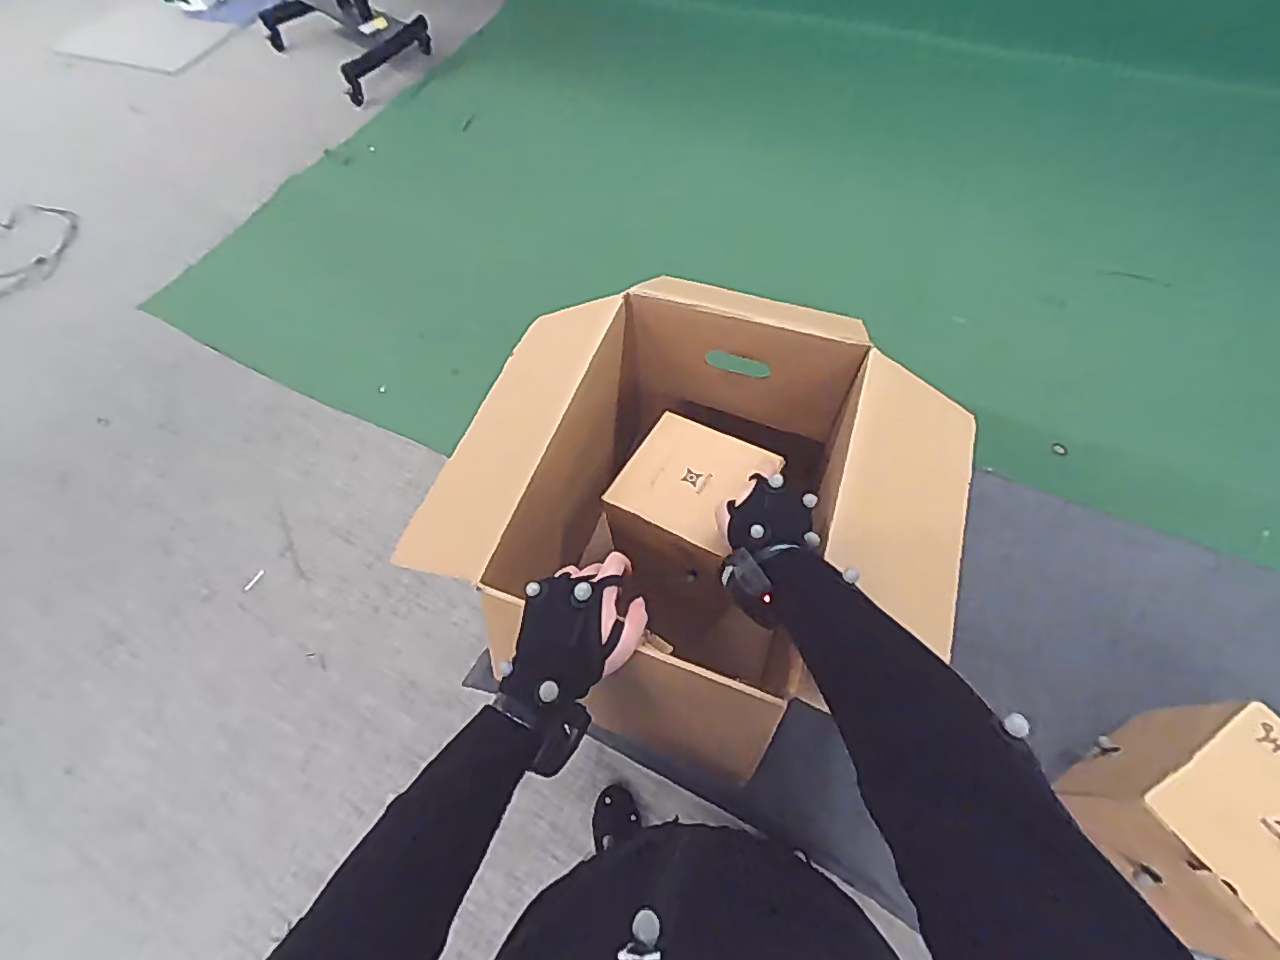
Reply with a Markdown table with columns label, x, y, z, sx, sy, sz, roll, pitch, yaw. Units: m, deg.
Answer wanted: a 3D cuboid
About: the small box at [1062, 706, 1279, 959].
| label | x | y | z | sx | sy | sz | roll | pitch | yaw |
| --- | --- | --- | --- | --- | --- | --- | --- | --- | --- |
| small box | 0.601 | 0.367 | 0.569 | 0.179 | 0.176 | 0.168 | -29 | 63 | -10 |
